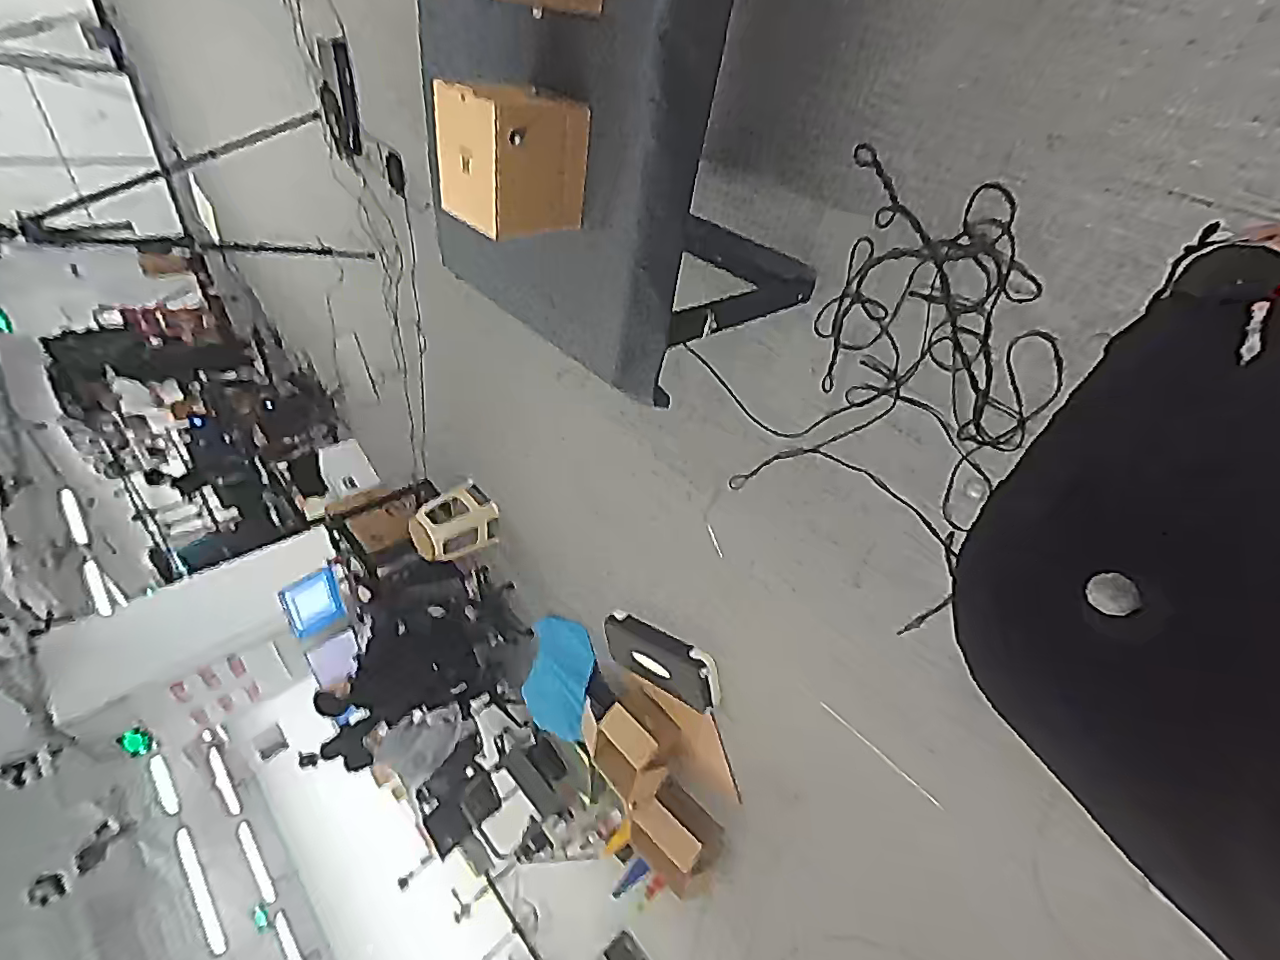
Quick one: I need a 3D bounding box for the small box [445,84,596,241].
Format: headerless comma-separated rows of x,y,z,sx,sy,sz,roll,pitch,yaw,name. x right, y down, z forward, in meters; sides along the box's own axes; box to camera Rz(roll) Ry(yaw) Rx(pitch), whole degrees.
-0.187,-0.502,0.859,0.168,0.176,0.179,39,136,30,small box

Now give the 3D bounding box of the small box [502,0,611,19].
-0.140,-0.711,0.676,0.168,0.176,0.179,40,139,30,small box
